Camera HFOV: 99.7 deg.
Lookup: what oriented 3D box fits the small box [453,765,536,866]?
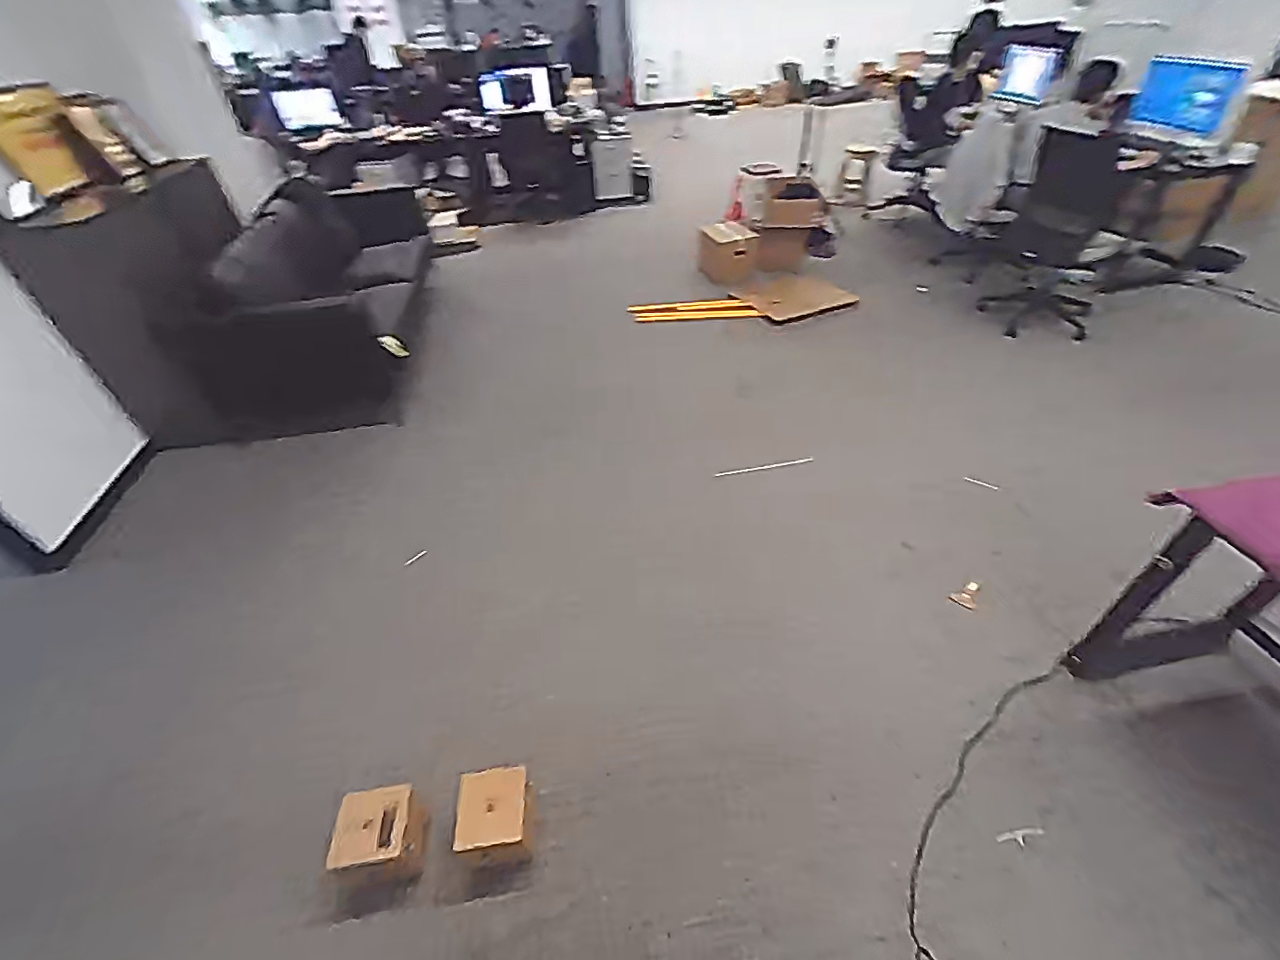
[{"bbox_3d":[-0.367,0.871,1.396,0.168,0.176,0.179,-7,41,-3],"label":"small box"}]
